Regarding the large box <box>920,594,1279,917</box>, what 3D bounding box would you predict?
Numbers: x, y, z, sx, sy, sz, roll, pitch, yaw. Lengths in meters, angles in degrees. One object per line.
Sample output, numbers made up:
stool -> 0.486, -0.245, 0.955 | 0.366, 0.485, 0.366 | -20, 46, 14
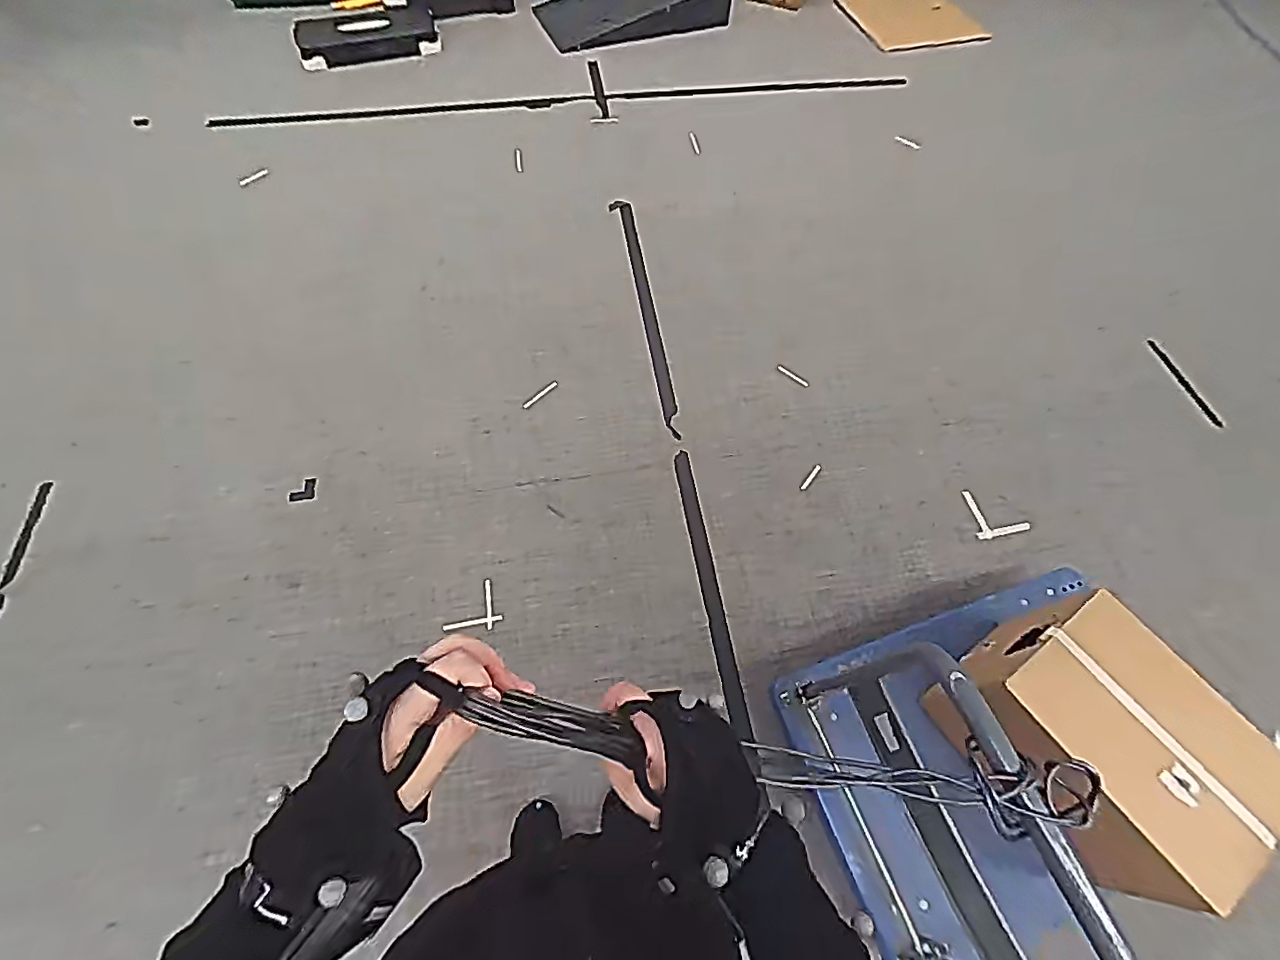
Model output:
large box -> 0.857, 0.500, 1.044 | 0.320, 0.320, 0.408 | -31, 68, -17
